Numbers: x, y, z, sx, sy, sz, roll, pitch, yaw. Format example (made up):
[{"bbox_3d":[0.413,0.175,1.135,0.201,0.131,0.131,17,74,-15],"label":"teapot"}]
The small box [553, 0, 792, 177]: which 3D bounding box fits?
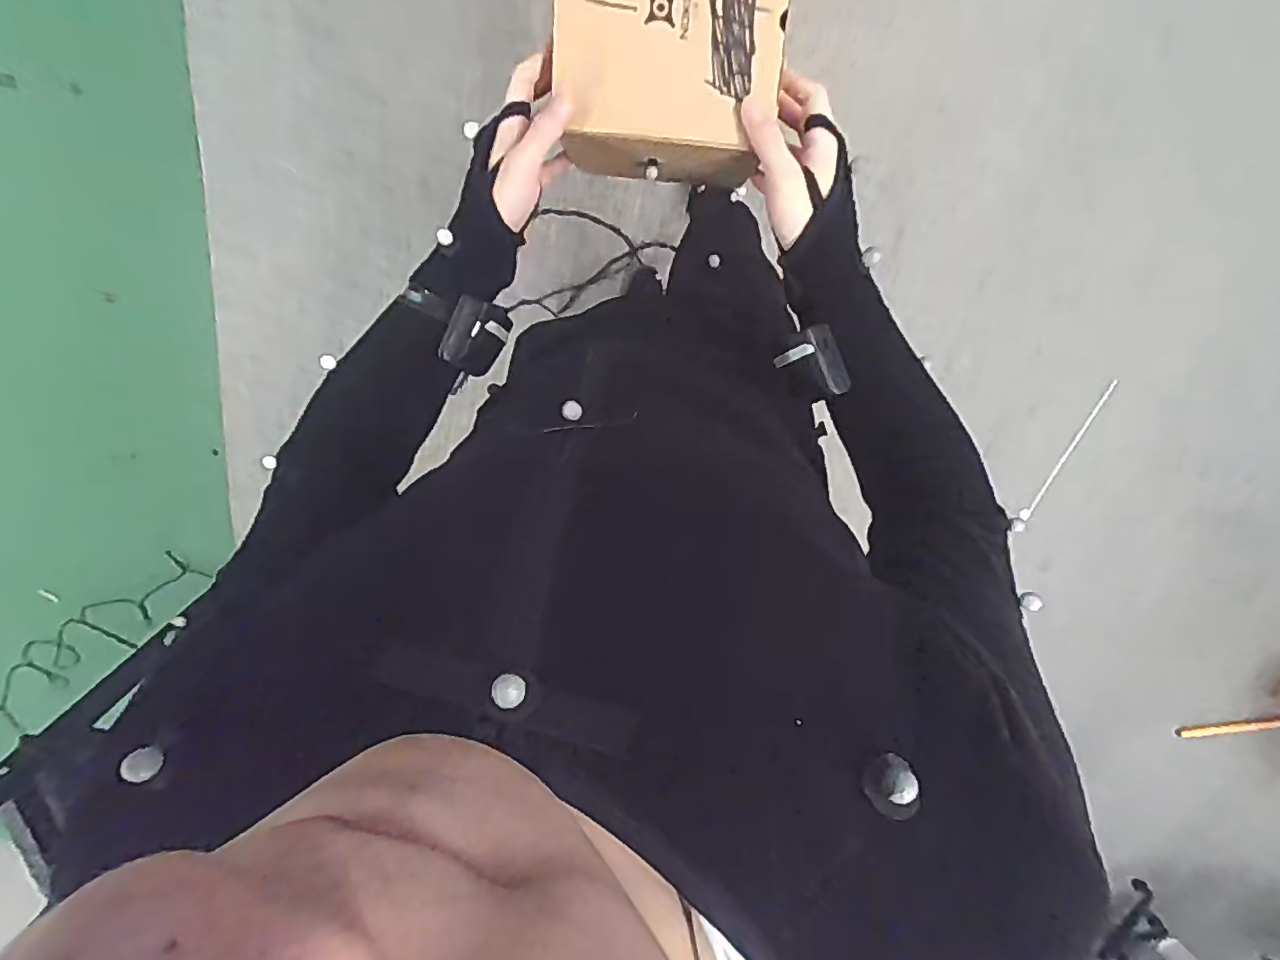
[{"bbox_3d":[0.027,-0.378,0.473,0.179,0.176,0.168,5,108,1],"label":"small box"}]
